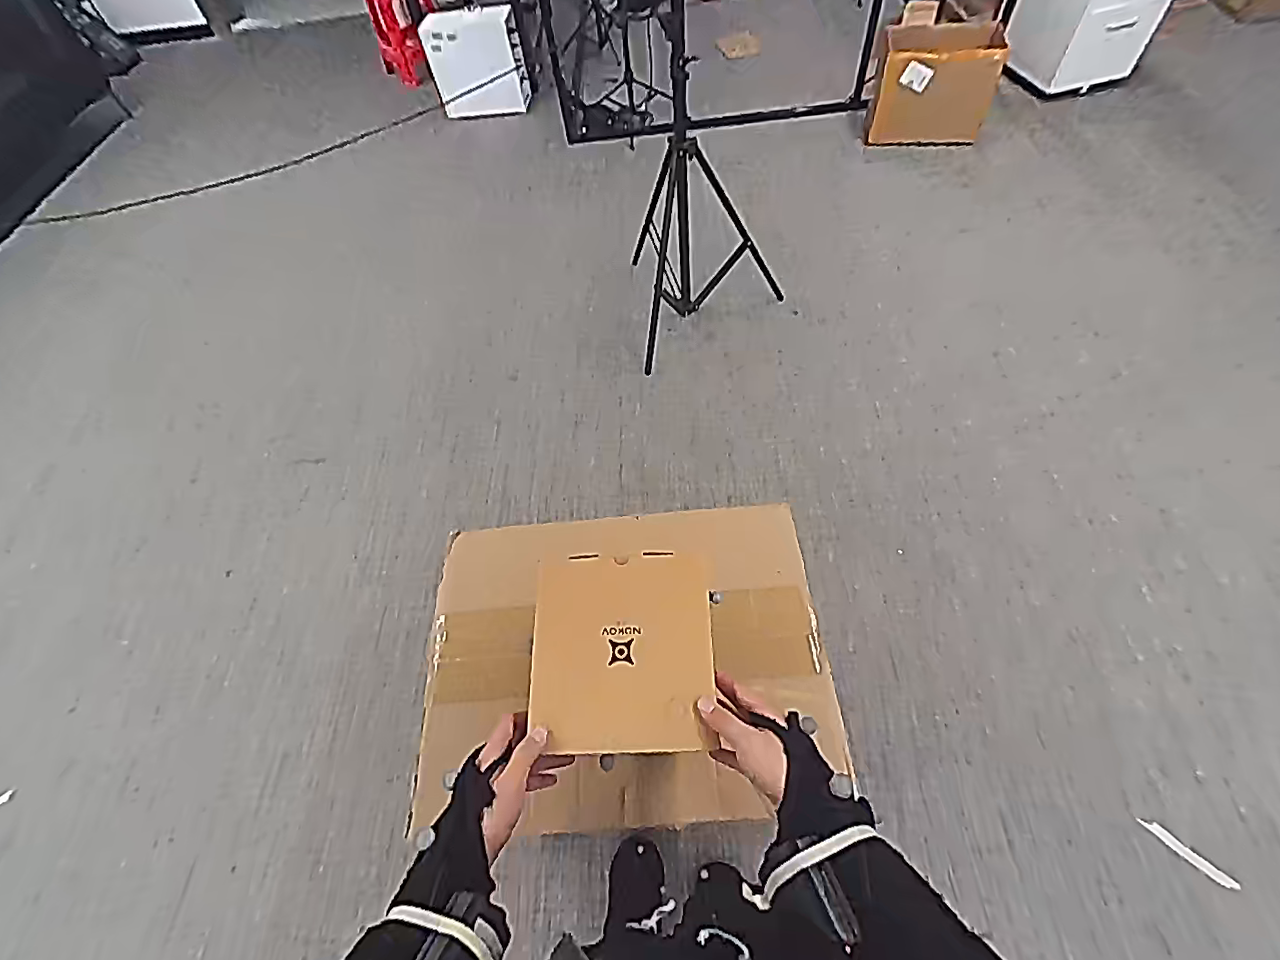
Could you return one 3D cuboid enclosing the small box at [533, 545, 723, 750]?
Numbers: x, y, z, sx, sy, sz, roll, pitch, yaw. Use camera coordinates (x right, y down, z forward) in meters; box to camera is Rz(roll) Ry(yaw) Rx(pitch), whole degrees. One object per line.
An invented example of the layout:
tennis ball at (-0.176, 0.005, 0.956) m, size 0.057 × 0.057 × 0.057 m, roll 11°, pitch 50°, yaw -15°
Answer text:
small box at (-0.004, 0.179, 0.558) m, size 0.168 × 0.176 × 0.179 m, roll -3°, pitch 63°, yaw 4°
